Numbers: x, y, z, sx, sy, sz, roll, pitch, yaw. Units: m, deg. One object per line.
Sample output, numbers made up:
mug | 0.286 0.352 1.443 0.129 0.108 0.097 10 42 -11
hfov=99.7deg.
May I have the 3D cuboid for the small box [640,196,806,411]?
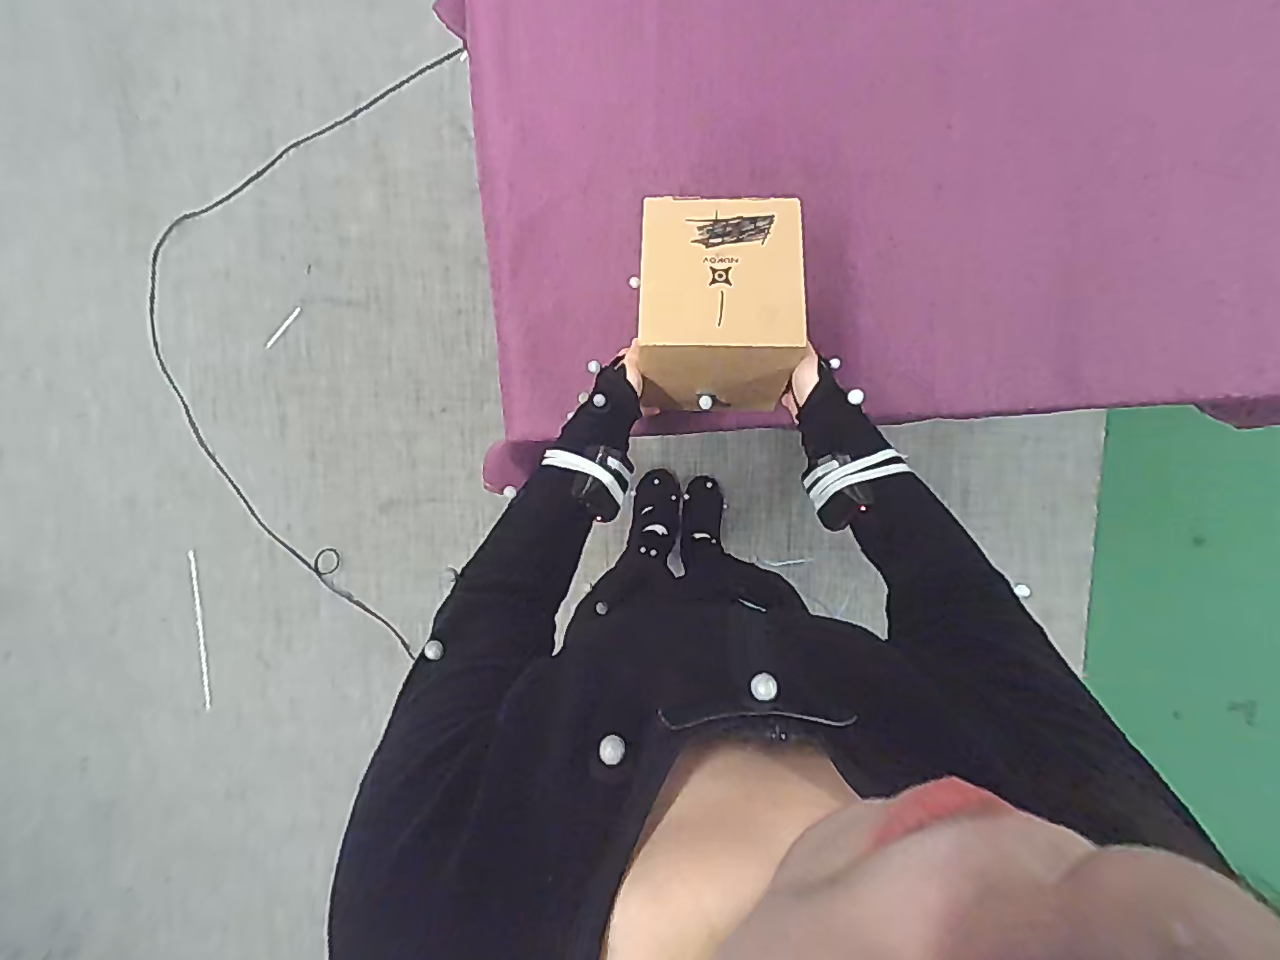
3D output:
small box | 0.086 -0.193 0.624 0.168 0.176 0.179 2 77 2
